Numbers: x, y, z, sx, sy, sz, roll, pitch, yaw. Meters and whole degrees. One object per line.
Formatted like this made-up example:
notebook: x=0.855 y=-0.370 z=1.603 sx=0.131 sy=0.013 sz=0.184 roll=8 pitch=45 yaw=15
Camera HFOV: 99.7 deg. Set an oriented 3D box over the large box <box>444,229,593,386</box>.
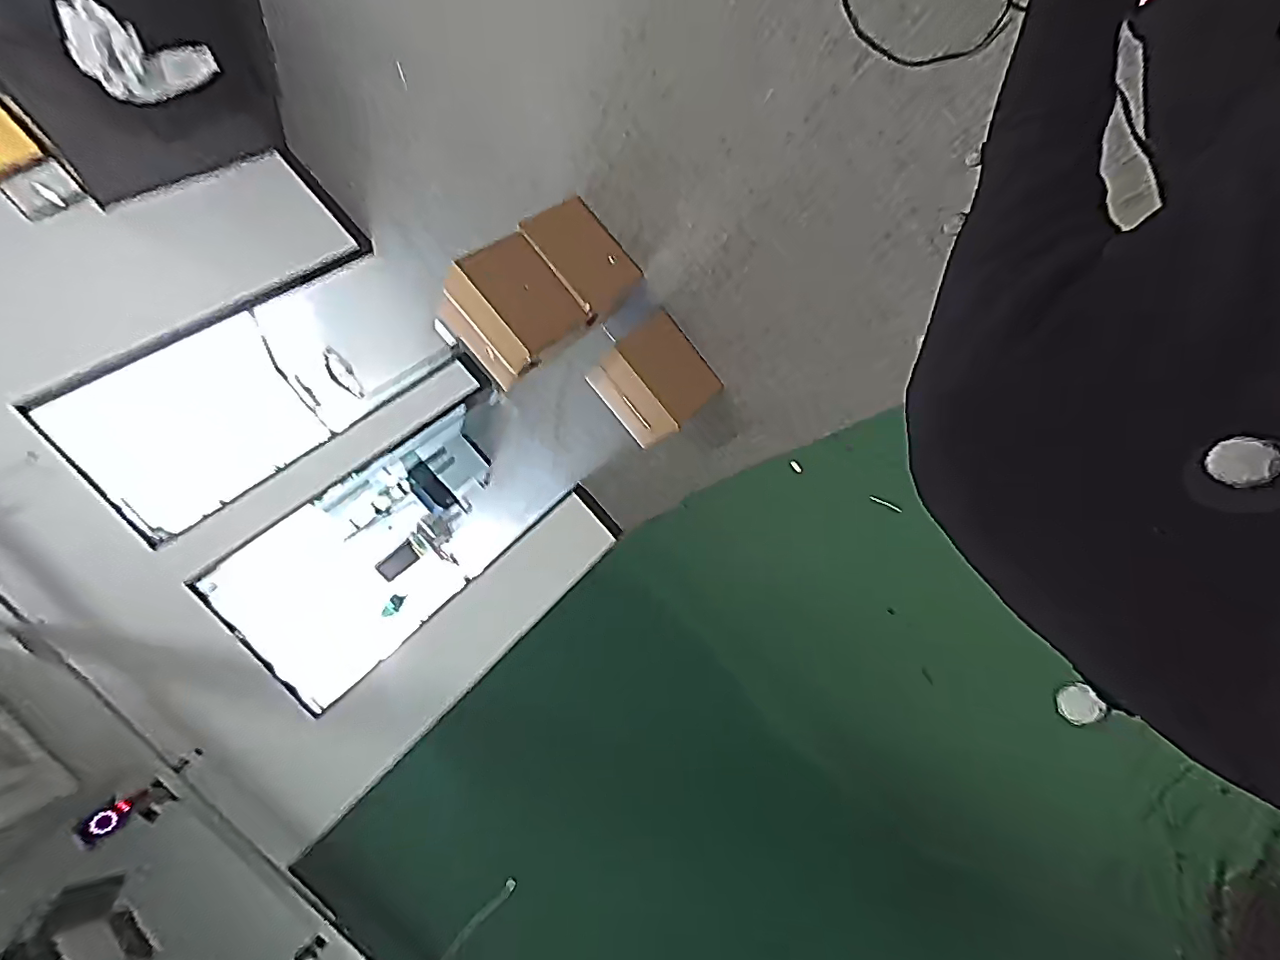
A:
large box: x=-0.458 y=-0.643 z=2.027 sx=0.408 sy=0.320 sz=0.320 roll=50 pitch=148 yaw=-6
